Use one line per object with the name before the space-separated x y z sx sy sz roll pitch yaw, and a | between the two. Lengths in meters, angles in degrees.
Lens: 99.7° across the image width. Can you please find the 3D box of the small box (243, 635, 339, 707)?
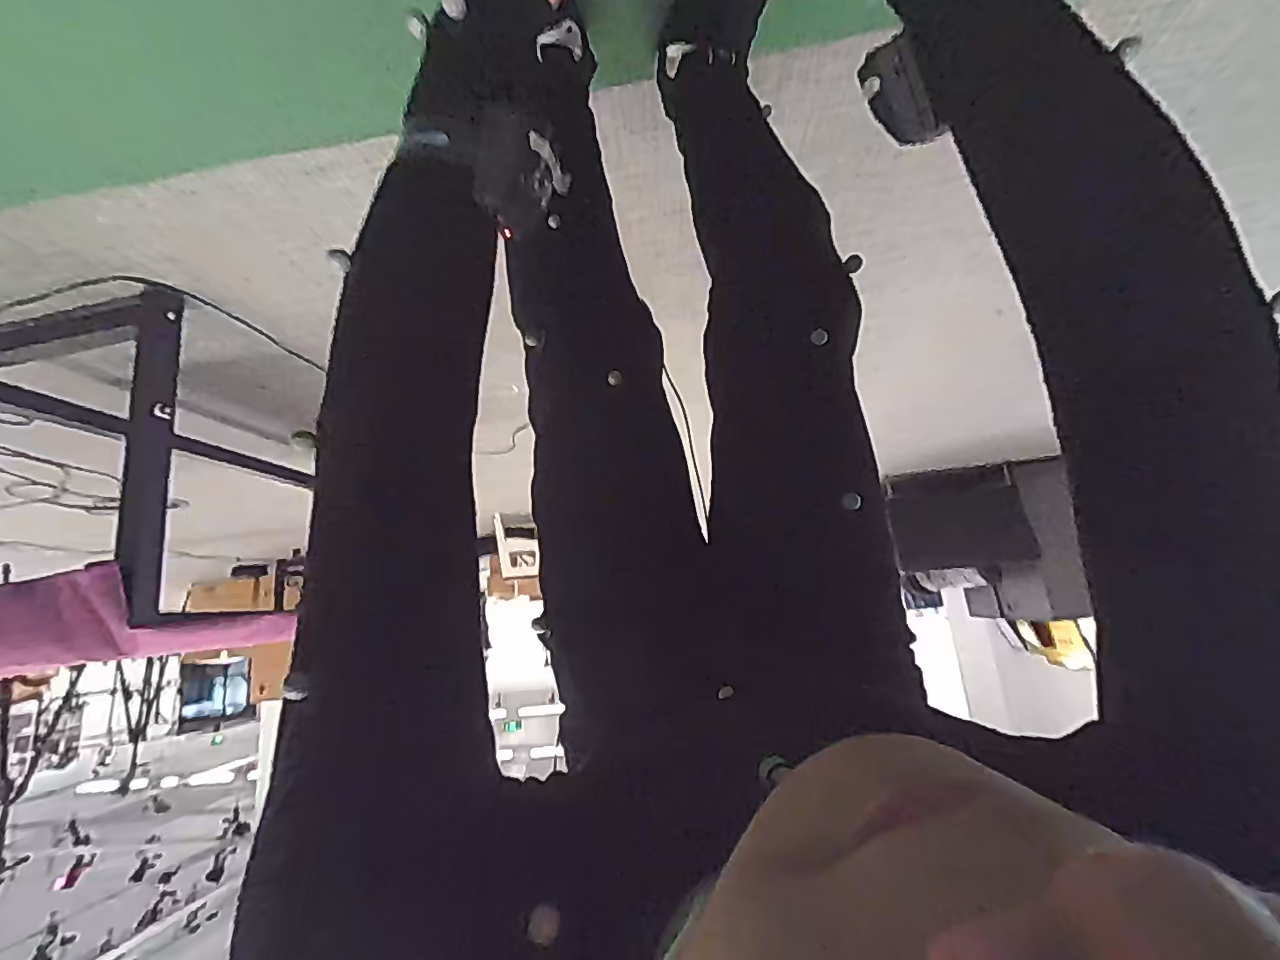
small box | -1.002 0.543 1.559 0.179 0.176 0.168 -8 167 7
